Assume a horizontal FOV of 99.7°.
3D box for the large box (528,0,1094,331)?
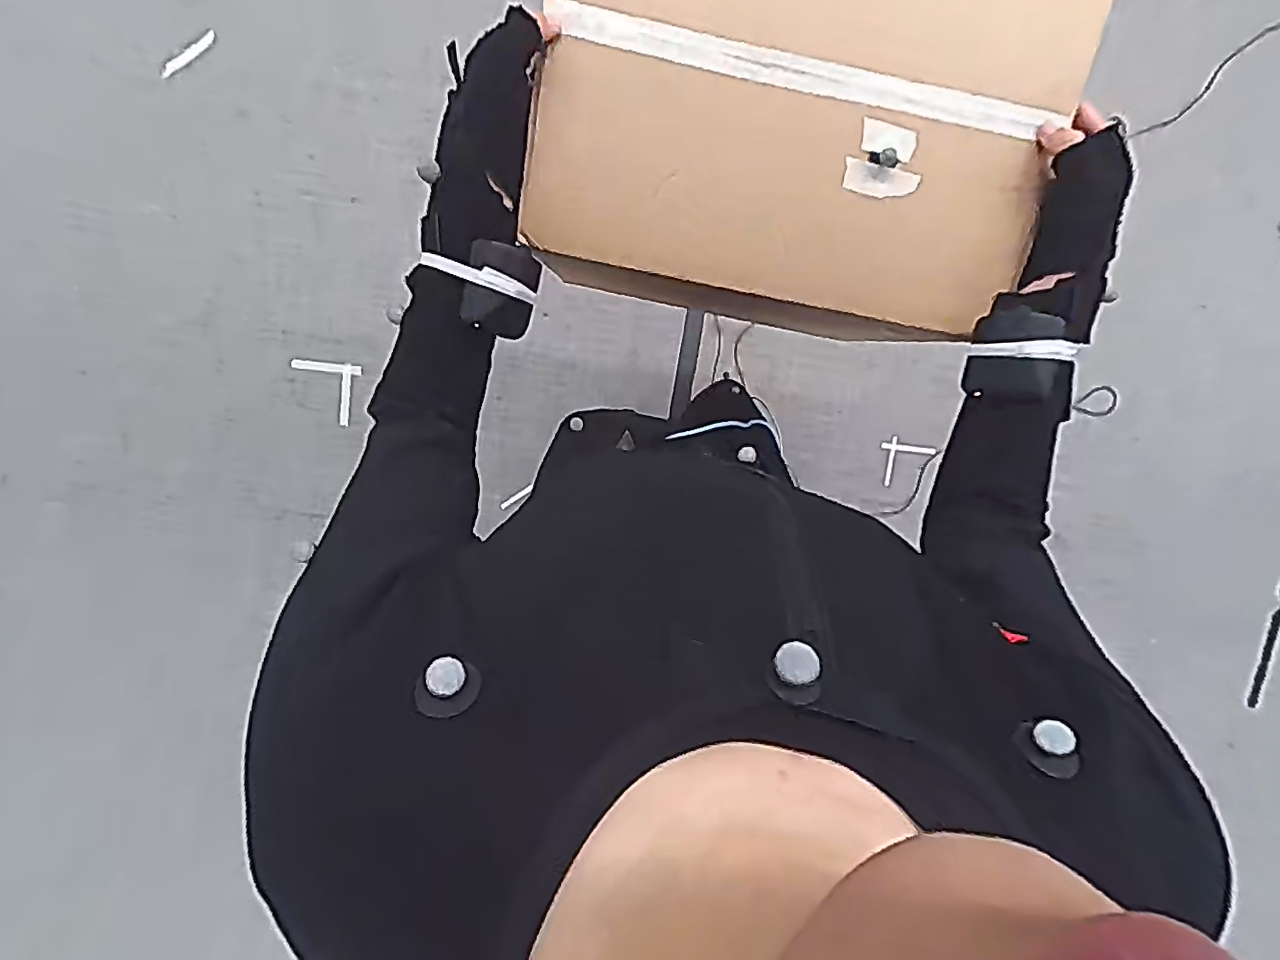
[{"bbox_3d":[0.121,-0.343,0.554,0.408,0.320,0.320,10,106,-5],"label":"large box"}]
